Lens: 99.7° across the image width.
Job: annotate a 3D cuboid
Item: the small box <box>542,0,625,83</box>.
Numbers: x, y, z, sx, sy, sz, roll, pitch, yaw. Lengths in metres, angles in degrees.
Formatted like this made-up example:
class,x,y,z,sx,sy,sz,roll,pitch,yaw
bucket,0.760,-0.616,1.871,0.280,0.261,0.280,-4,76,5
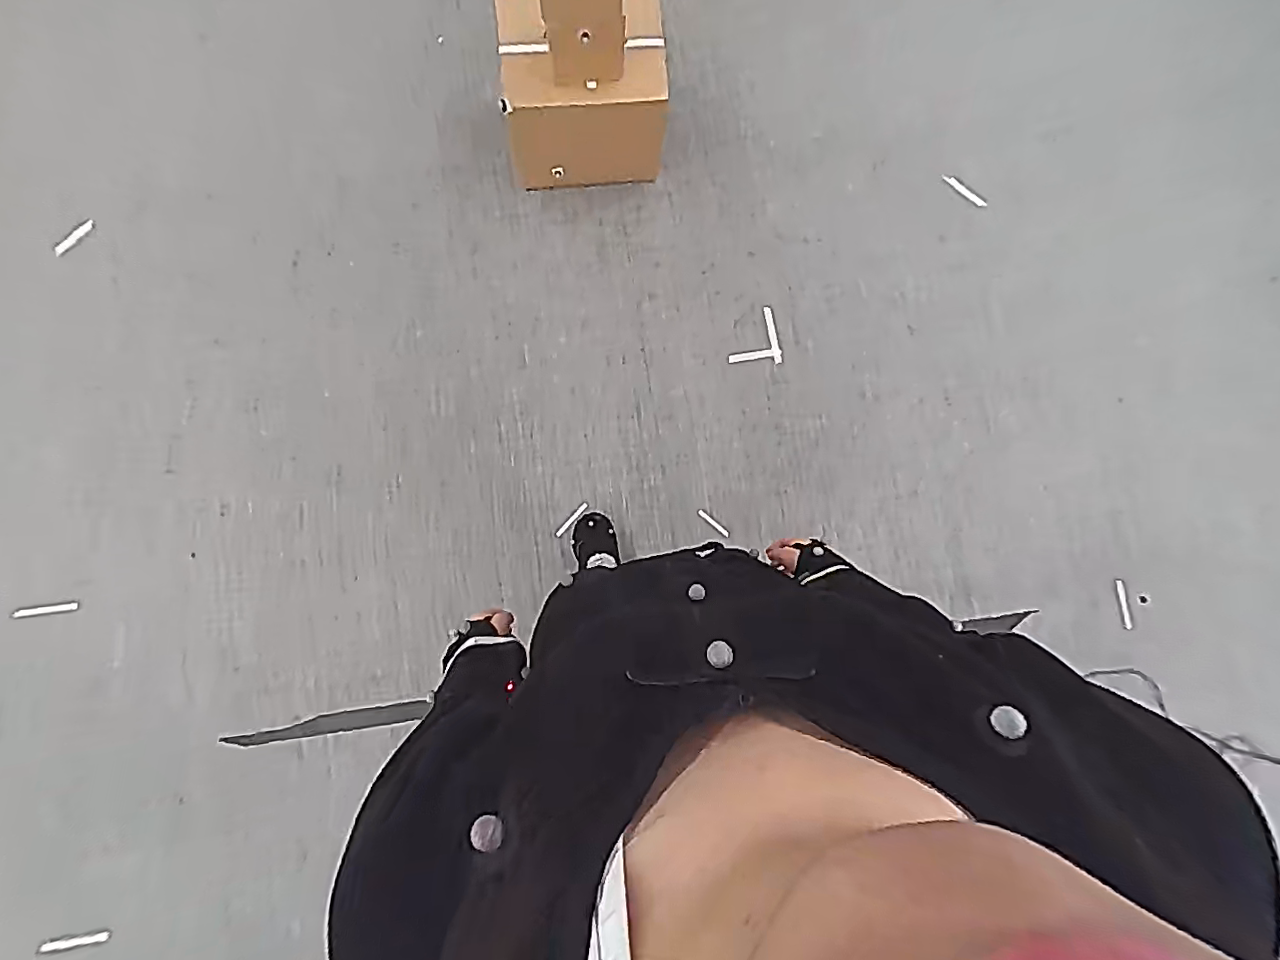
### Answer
class,x,y,z,sx,sy,sz,roll,pitch,yaw
small box,-0.133,-1.060,1.250,0.179,0.176,0.168,-8,85,-5
